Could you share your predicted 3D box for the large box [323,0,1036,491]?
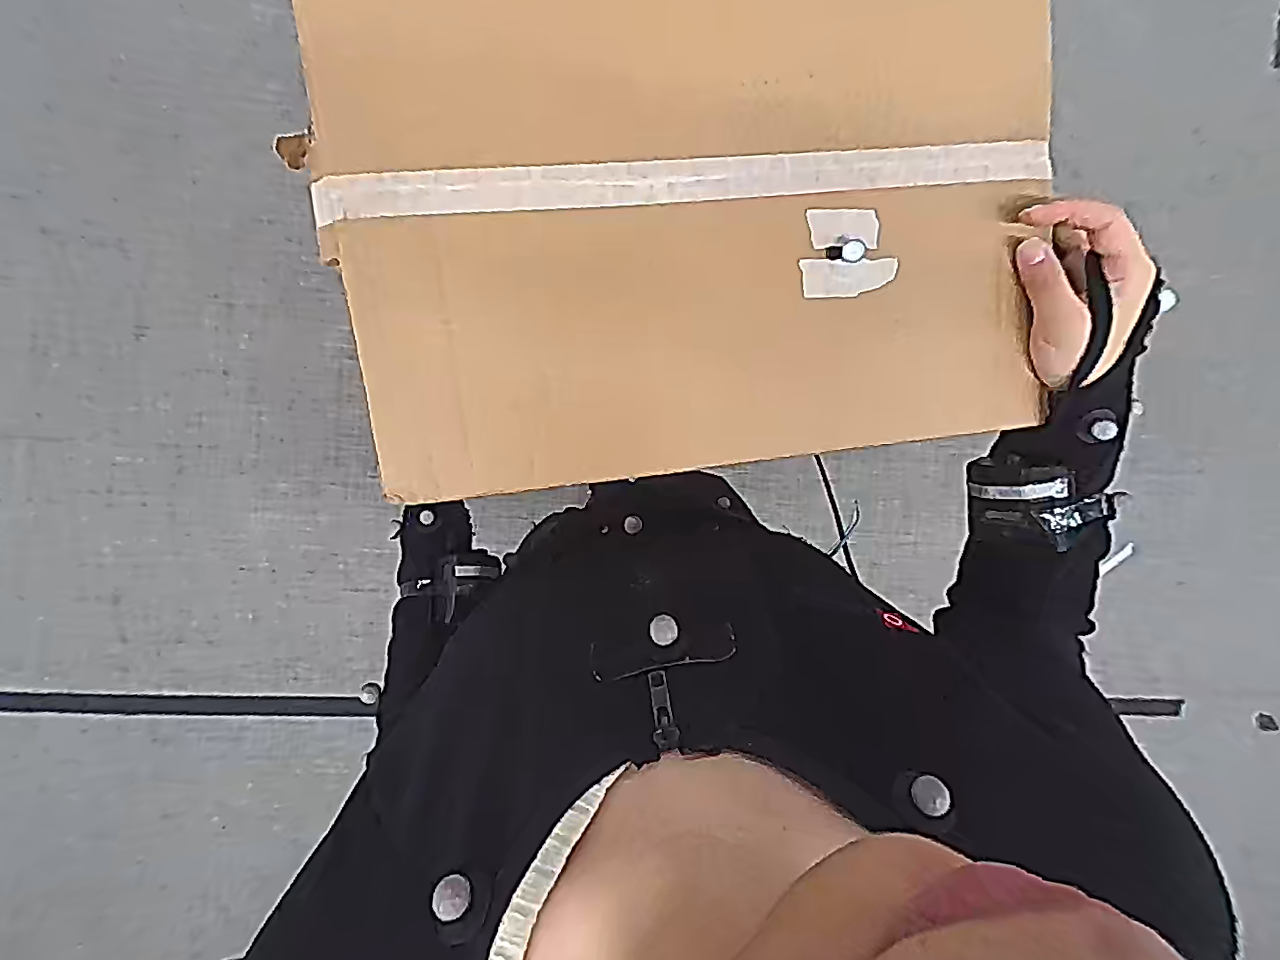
[{"bbox_3d":[0.022,-0.187,0.451,0.408,0.320,0.320,-7,99,-10],"label":"large box"}]
